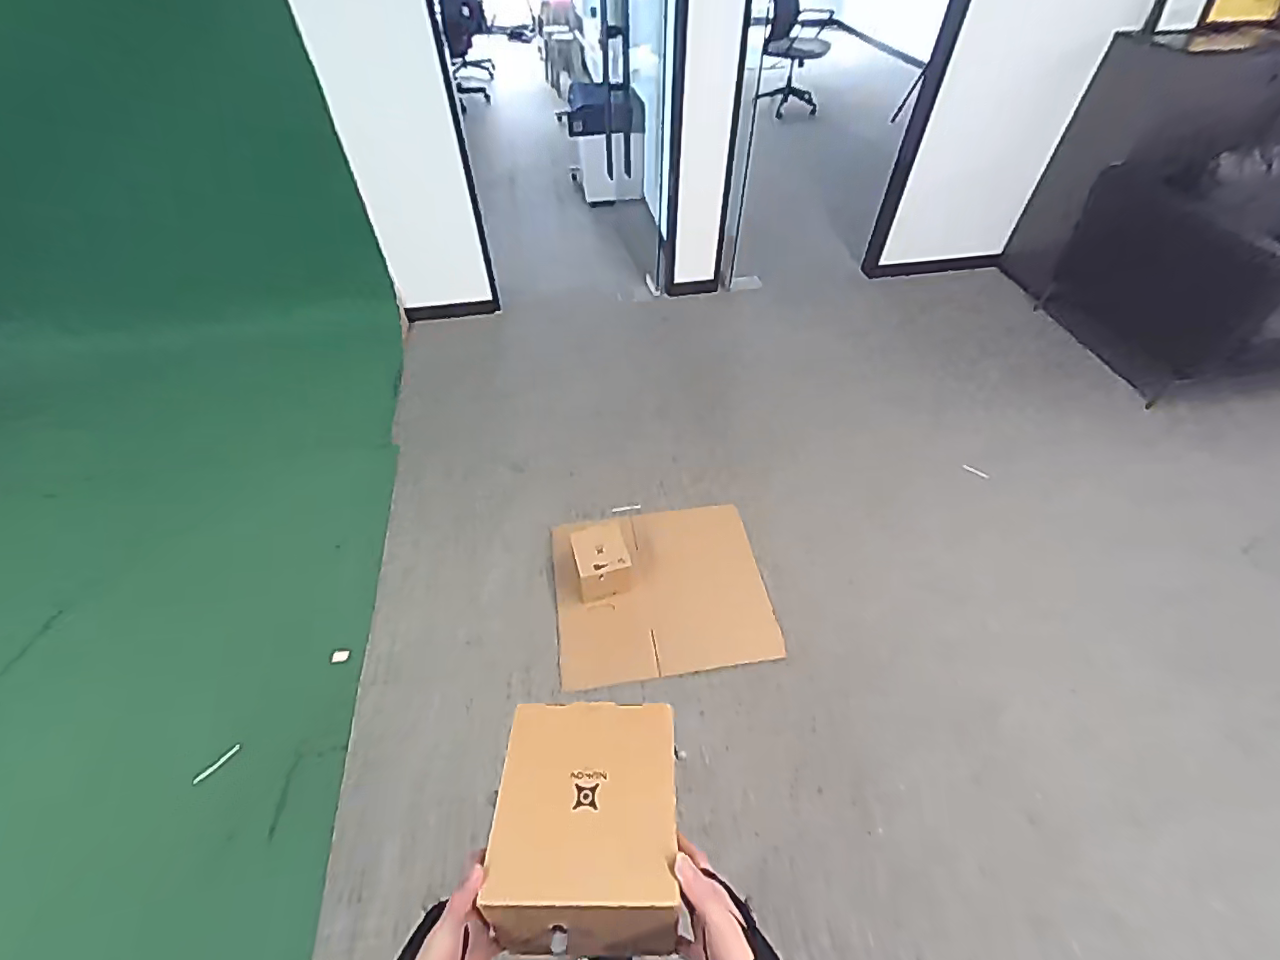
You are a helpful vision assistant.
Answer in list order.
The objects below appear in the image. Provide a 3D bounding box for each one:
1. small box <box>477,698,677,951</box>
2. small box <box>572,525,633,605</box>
[{"bbox_3d":[-0.047,0.345,0.545,0.168,0.176,0.179,-1,37,1],"label":"small box"},{"bbox_3d":[-0.123,0.279,1.764,0.168,0.176,0.179,-13,50,-11],"label":"small box"}]
